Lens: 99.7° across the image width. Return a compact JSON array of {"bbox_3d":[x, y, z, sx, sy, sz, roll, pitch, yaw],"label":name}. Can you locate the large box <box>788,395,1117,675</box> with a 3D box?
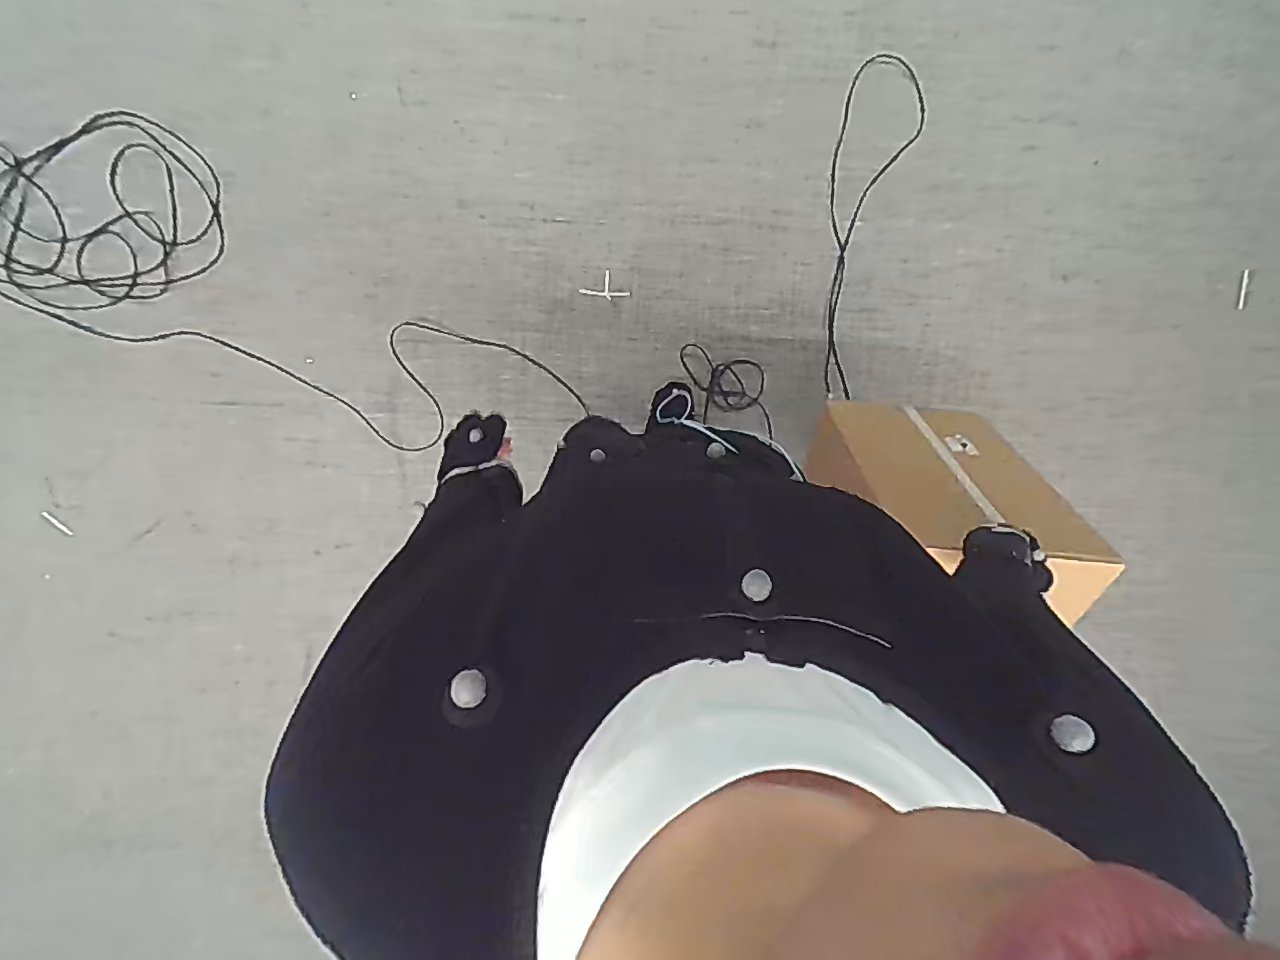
[{"bbox_3d":[0.489,0.088,0.972,0.320,0.408,0.320,6,127,-3],"label":"large box"}]
